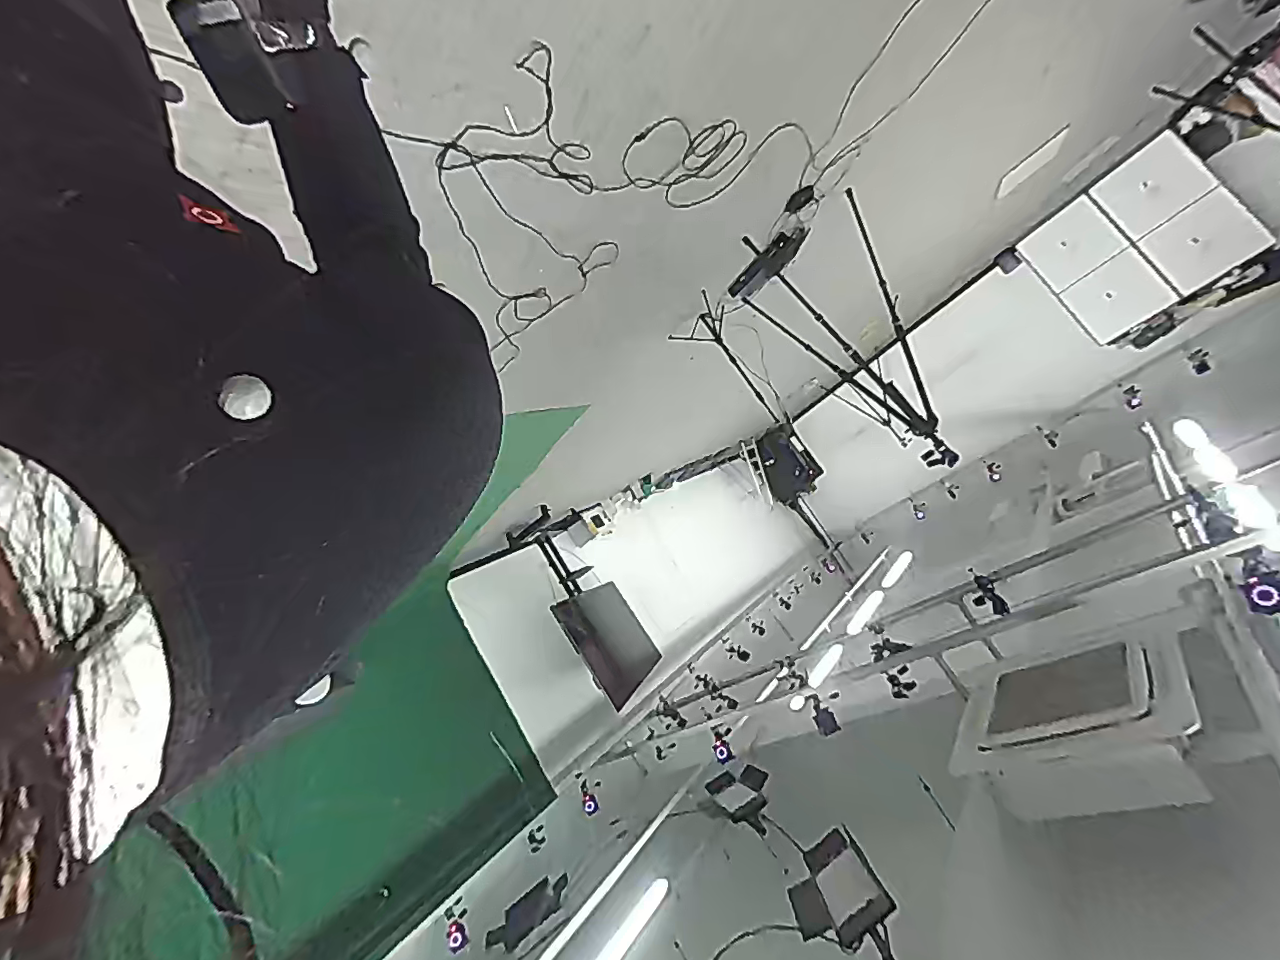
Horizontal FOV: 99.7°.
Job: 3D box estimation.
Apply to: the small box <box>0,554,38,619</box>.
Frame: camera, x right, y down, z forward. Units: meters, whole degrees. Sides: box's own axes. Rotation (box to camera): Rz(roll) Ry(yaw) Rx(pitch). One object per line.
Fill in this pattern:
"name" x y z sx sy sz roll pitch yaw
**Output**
"small box" -2.343 0.396 1.955 0.179 0.176 0.168 -24 166 -47
